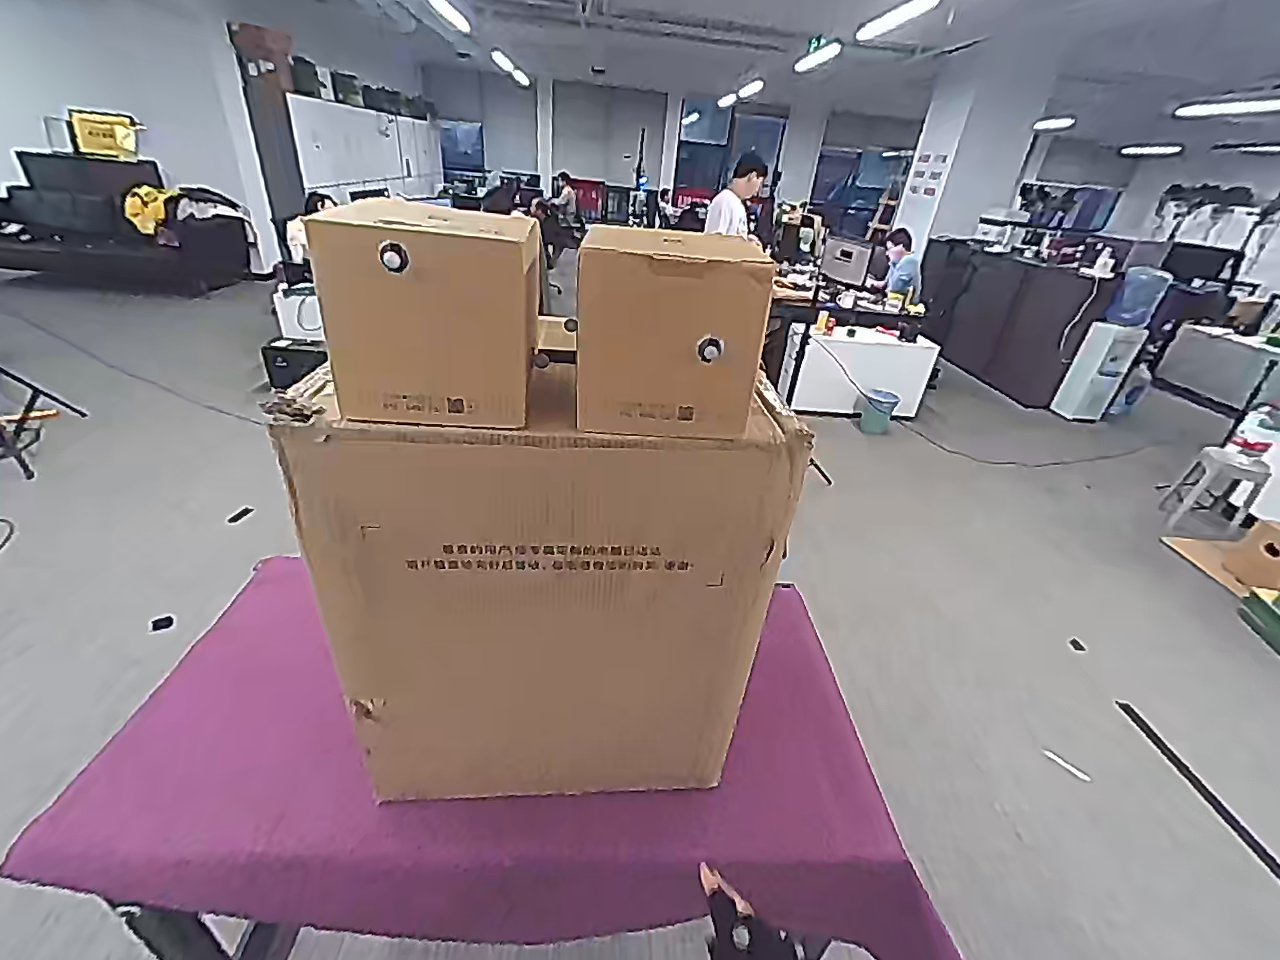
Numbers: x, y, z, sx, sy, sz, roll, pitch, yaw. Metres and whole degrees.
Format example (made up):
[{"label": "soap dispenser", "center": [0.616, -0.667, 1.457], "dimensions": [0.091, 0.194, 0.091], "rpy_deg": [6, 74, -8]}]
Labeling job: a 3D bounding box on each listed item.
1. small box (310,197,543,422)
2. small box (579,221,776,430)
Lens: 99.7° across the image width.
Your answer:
[{"label": "small box", "center": [-0.184, -0.169, 0.525], "dimensions": [0.168, 0.176, 0.179], "rpy_deg": [2, 29, -7]}, {"label": "small box", "center": [0.026, -0.160, 0.551], "dimensions": [0.168, 0.176, 0.179], "rpy_deg": [4, 29, -4]}]
